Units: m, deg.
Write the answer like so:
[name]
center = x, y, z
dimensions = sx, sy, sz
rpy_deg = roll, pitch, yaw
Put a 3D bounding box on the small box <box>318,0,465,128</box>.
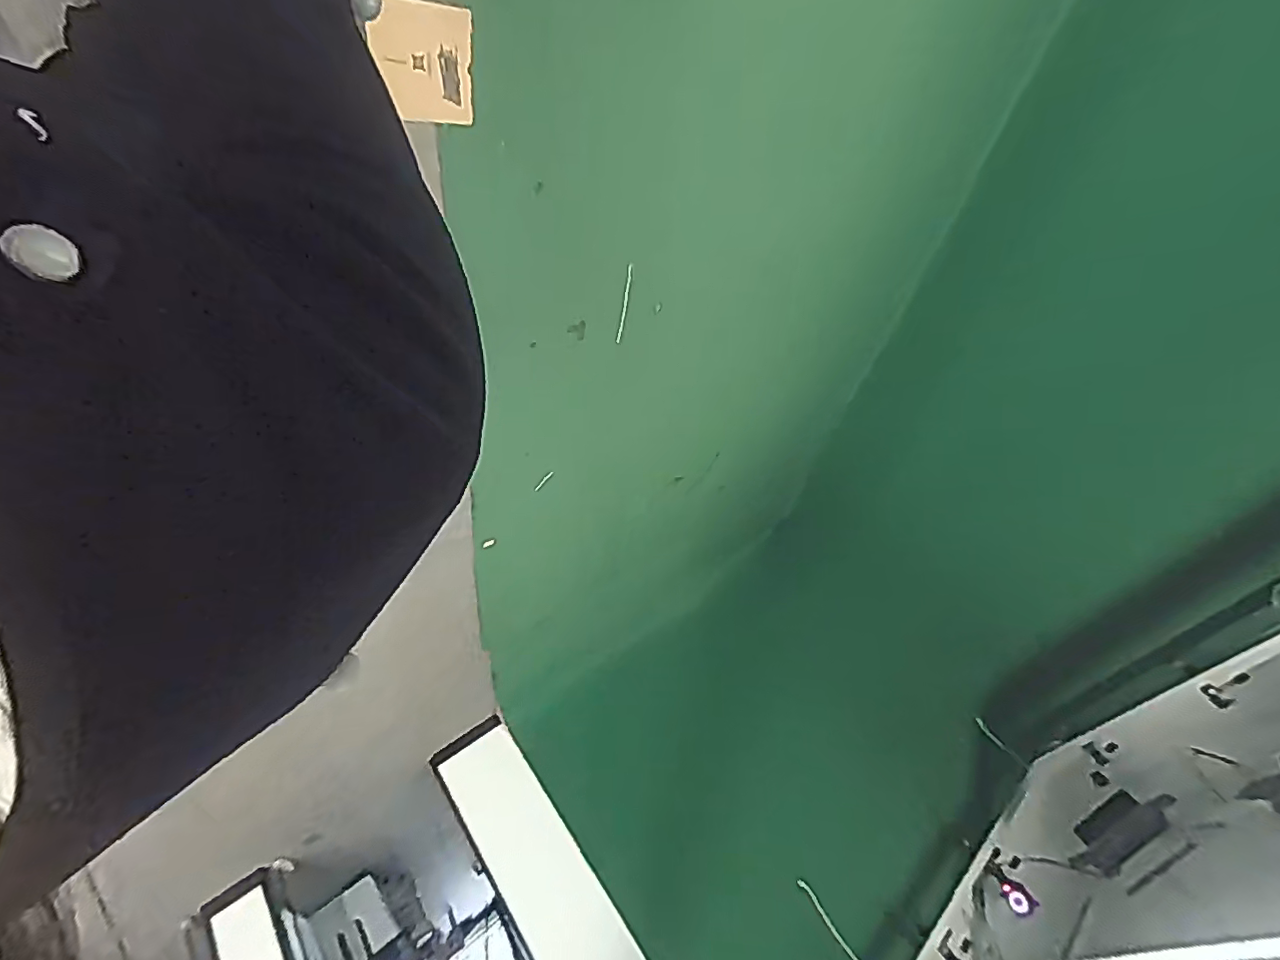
[small box]
center = -0.419, -0.724, 0.921
dimensions = 0.179, 0.176, 0.168
rpy_deg = -22, 143, -36
